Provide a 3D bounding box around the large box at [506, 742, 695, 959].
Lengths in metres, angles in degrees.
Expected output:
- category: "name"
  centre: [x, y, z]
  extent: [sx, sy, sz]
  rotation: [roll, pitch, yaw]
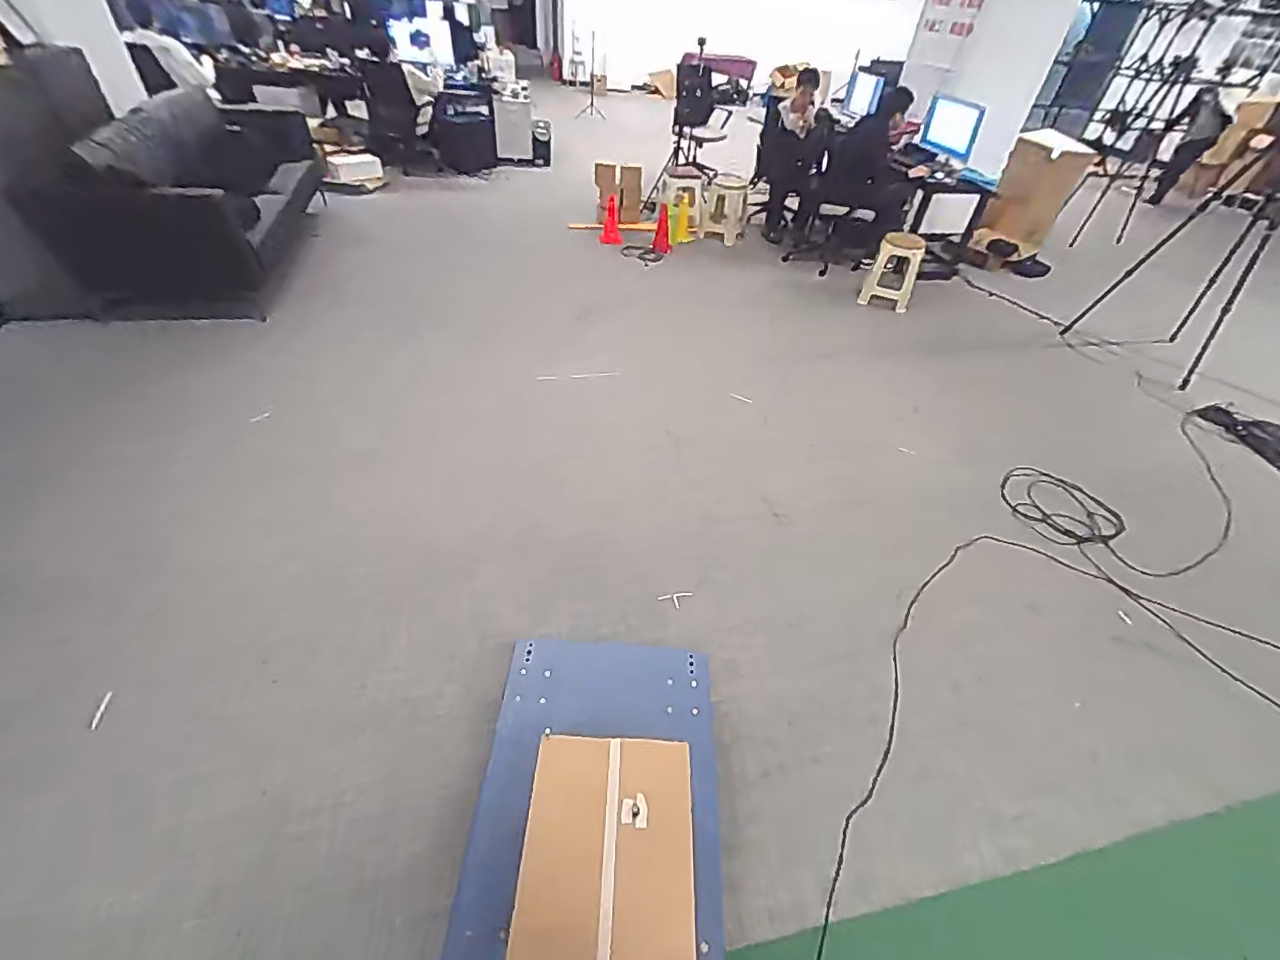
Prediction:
- category: "large box"
  centre: [-0.074, 0.802, 1.088]
  extent: [0.320, 0.320, 0.408]
  rotation: [5, 41, -3]
